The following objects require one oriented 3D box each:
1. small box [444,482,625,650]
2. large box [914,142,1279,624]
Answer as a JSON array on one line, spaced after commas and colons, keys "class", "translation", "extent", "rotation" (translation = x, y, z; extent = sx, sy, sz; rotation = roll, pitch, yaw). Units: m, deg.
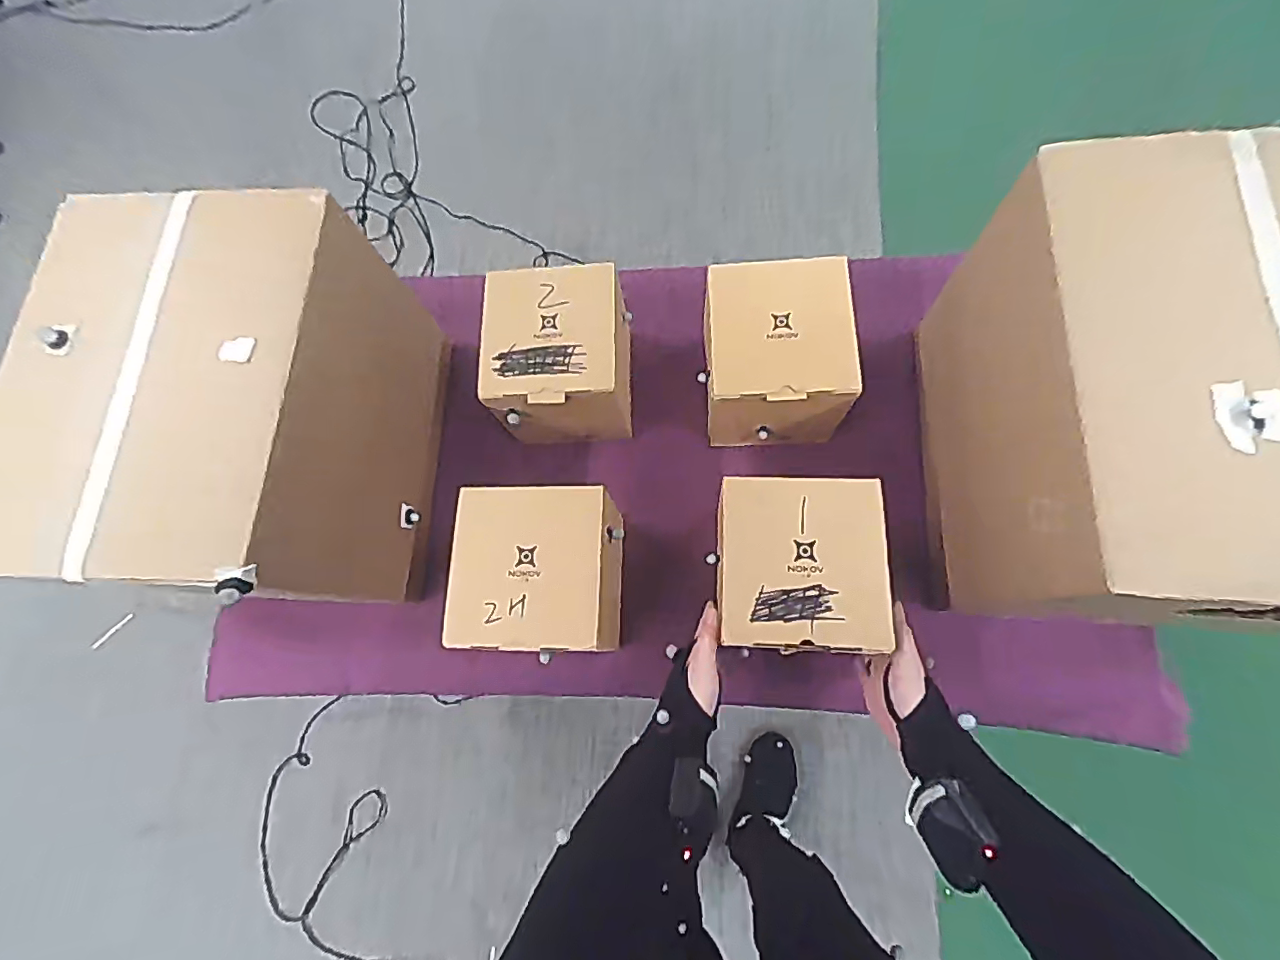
[{"class": "small box", "translation": [-0.111, 0.109, 0.646], "extent": [0.168, 0.176, 0.179], "rotation": [-1, 73, 6]}, {"class": "large box", "translation": [0.517, -0.065, 0.565], "extent": [0.320, 0.320, 0.408], "rotation": [1, 75, 8]}]
